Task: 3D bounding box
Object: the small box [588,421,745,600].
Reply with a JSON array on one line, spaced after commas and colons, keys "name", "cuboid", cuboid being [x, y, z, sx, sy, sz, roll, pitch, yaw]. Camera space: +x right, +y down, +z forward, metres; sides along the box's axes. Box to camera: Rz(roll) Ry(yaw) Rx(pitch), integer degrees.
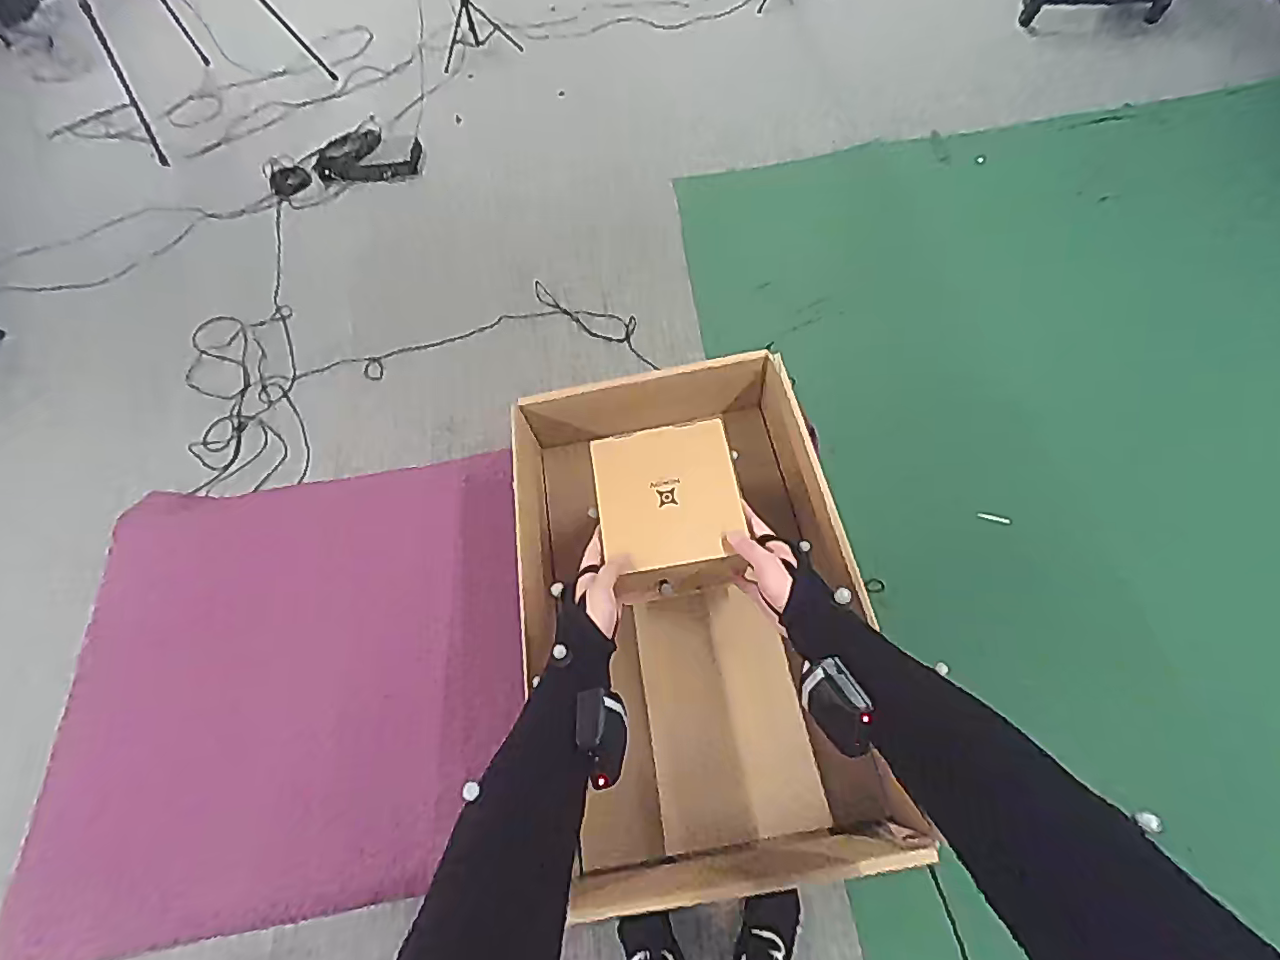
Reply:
[{"name": "small box", "cuboid": [0.036, 0.051, 0.703, 0.168, 0.176, 0.179, -11, 65, 2]}]
